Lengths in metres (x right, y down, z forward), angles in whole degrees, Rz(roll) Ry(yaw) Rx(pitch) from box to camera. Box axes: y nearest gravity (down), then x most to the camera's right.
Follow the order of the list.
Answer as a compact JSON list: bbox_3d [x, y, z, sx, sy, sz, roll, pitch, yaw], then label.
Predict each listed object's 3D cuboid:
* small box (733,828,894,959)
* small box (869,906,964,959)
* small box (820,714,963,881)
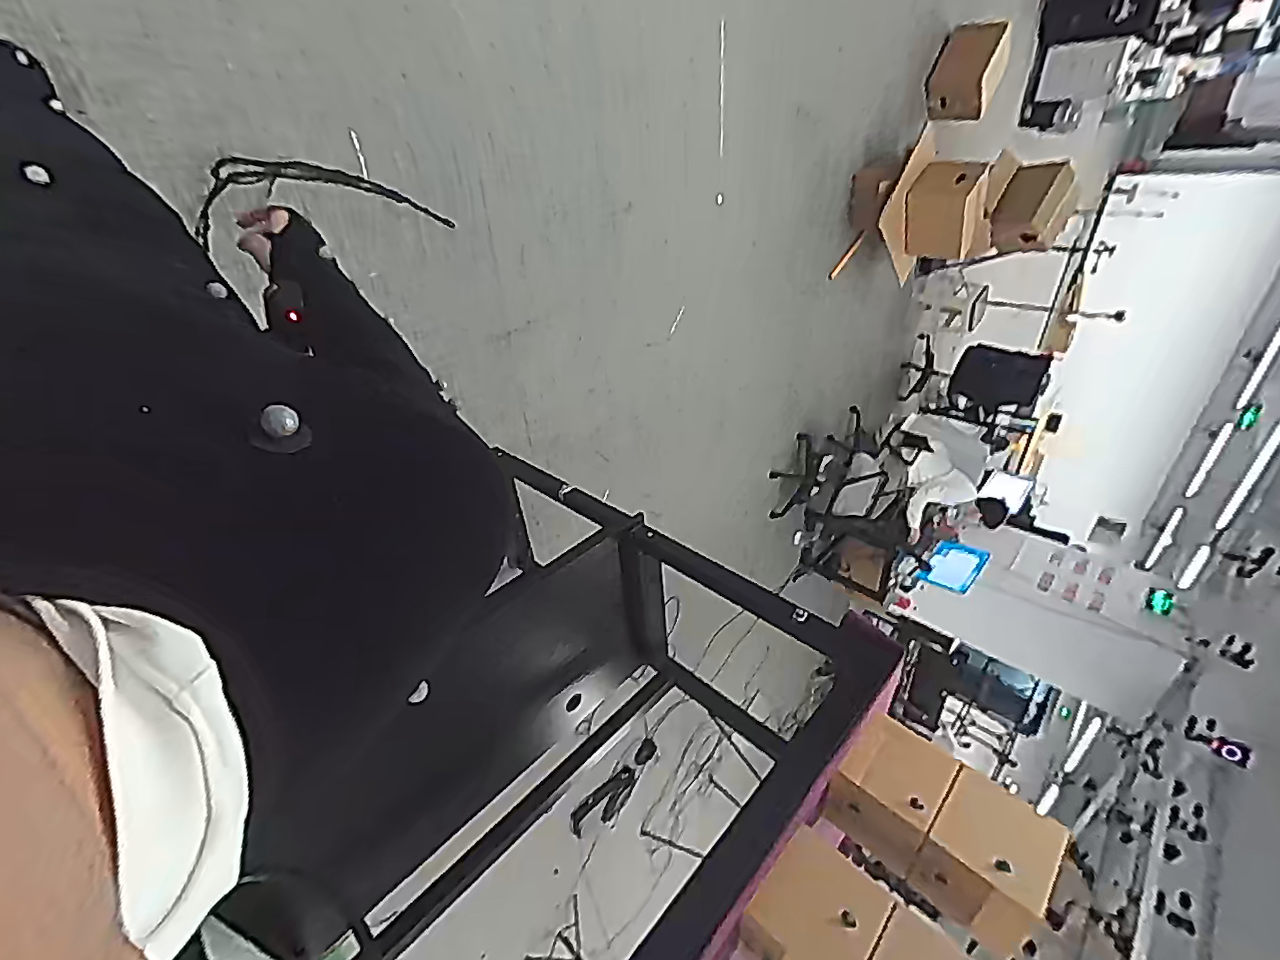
[{"bbox_3d":[0.271,0.710,0.861,0.179,0.176,0.168,-29,131,-36],"label":"small box"},{"bbox_3d":[0.387,0.769,0.760,0.179,0.176,0.168,-30,132,-37],"label":"small box"},{"bbox_3d":[0.468,0.584,1.018,0.179,0.176,0.168,-30,131,-35],"label":"small box"}]
